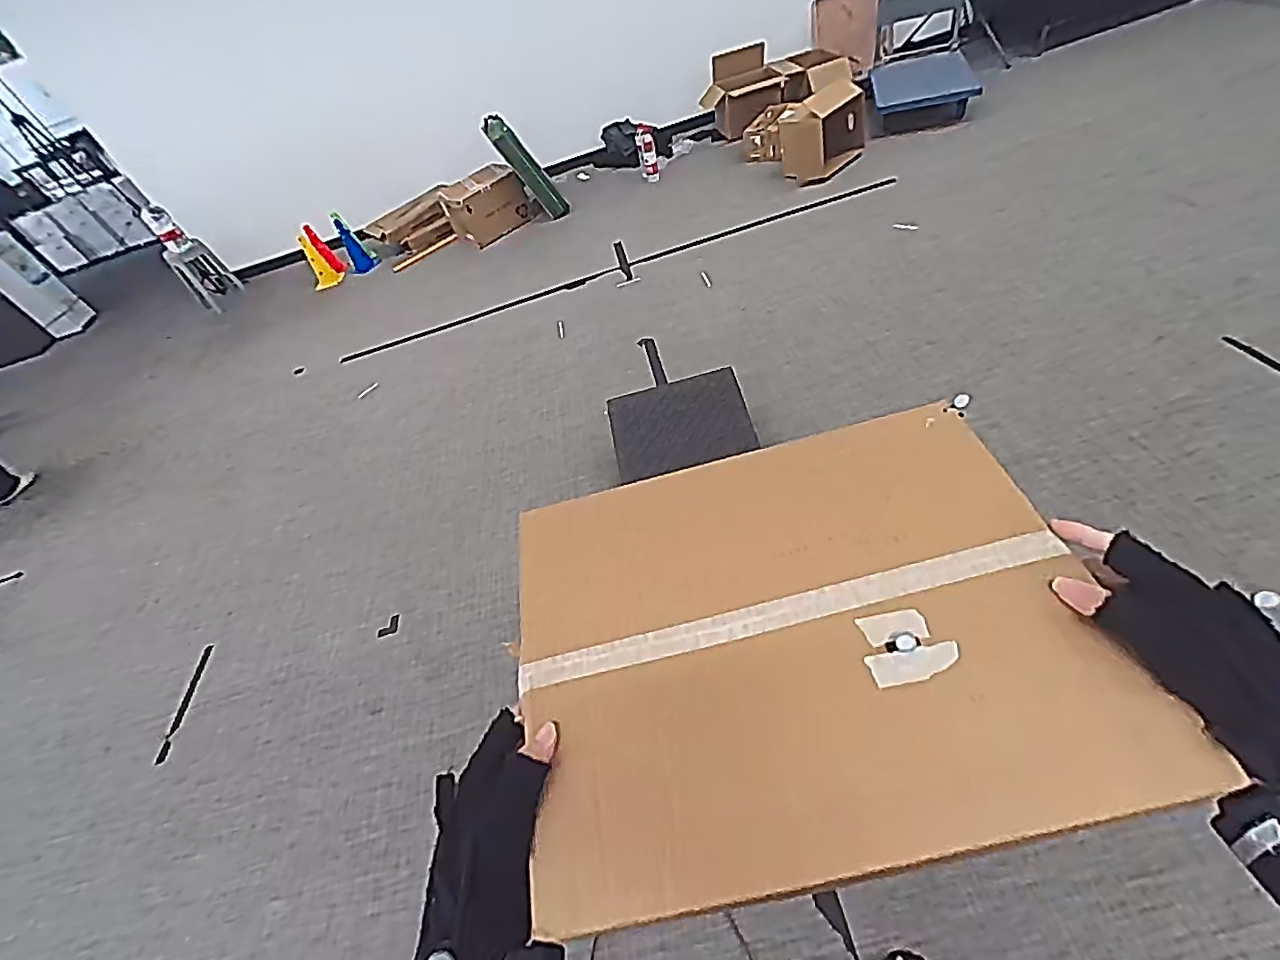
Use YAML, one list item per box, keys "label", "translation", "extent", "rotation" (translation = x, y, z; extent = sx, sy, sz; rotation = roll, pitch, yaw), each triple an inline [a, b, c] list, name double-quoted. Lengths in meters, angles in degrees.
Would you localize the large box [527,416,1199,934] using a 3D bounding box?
- label: "large box"
  translation: [0.138, 0.197, 0.528]
  extent: [0.408, 0.320, 0.320]
  rotation: [-15, 51, 3]
